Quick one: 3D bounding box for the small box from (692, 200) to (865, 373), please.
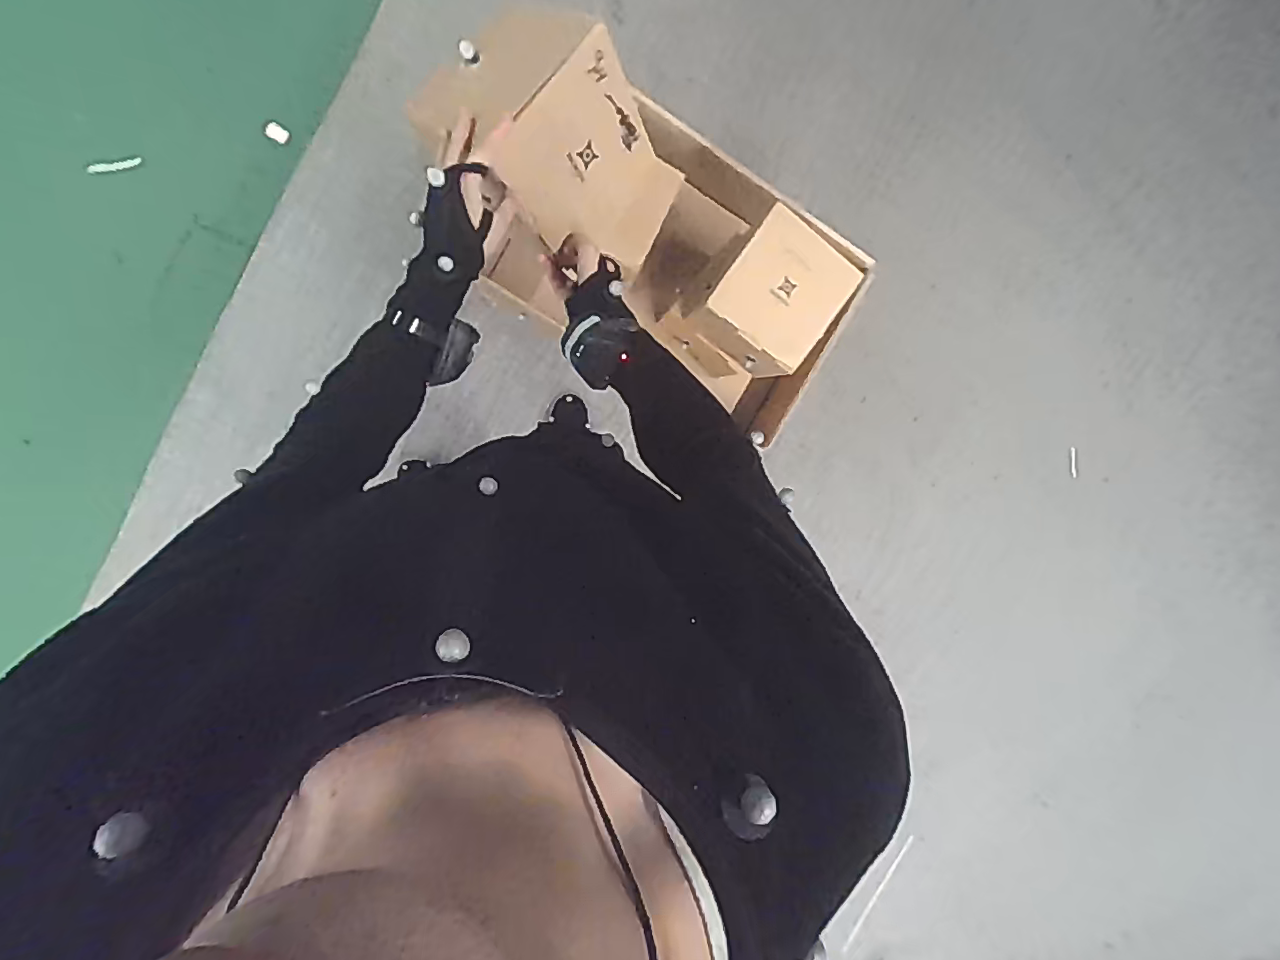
[{"bbox_3d":[0.197,-0.280,0.832,0.168,0.176,0.179,36,93,-11],"label":"small box"}]

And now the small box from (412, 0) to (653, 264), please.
[{"bbox_3d":[-0.121,-0.386,0.599,0.179,0.168,0.176,-47,62,-2],"label":"small box"}]

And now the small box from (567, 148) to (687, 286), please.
[{"bbox_3d":[-0.043,-0.467,0.939,0.168,0.176,0.179,27,95,-10],"label":"small box"}]
